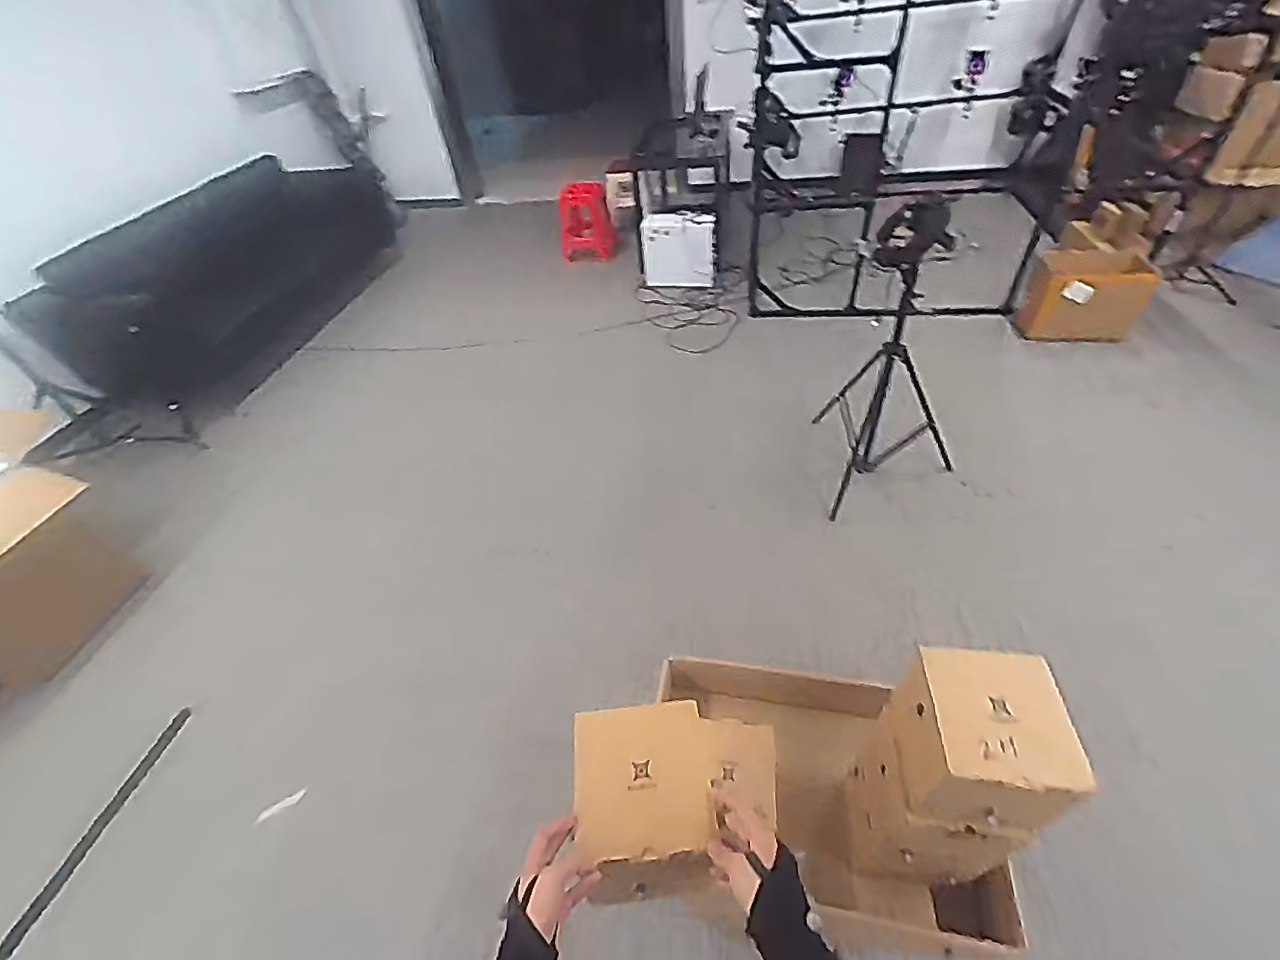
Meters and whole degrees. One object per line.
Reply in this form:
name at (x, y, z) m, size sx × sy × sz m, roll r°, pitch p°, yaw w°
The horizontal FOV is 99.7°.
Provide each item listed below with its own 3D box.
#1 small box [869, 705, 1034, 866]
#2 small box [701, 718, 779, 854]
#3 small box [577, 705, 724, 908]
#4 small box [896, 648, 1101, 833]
small box at (0.476, 0.487, 0.859) m, size 0.168 × 0.176 × 0.179 m, roll 3°, pitch 44°, yaw 9°
small box at (0.175, 0.584, 1.036) m, size 0.168 × 0.176 × 0.179 m, roll 2°, pitch 44°, yaw 10°
small box at (0.007, 0.422, 0.705) m, size 0.168 × 0.176 × 0.179 m, roll -6°, pitch 41°, yaw -3°
small box at (0.474, 0.361, 0.752) m, size 0.168 × 0.176 × 0.179 m, roll 3°, pitch 45°, yaw 9°
